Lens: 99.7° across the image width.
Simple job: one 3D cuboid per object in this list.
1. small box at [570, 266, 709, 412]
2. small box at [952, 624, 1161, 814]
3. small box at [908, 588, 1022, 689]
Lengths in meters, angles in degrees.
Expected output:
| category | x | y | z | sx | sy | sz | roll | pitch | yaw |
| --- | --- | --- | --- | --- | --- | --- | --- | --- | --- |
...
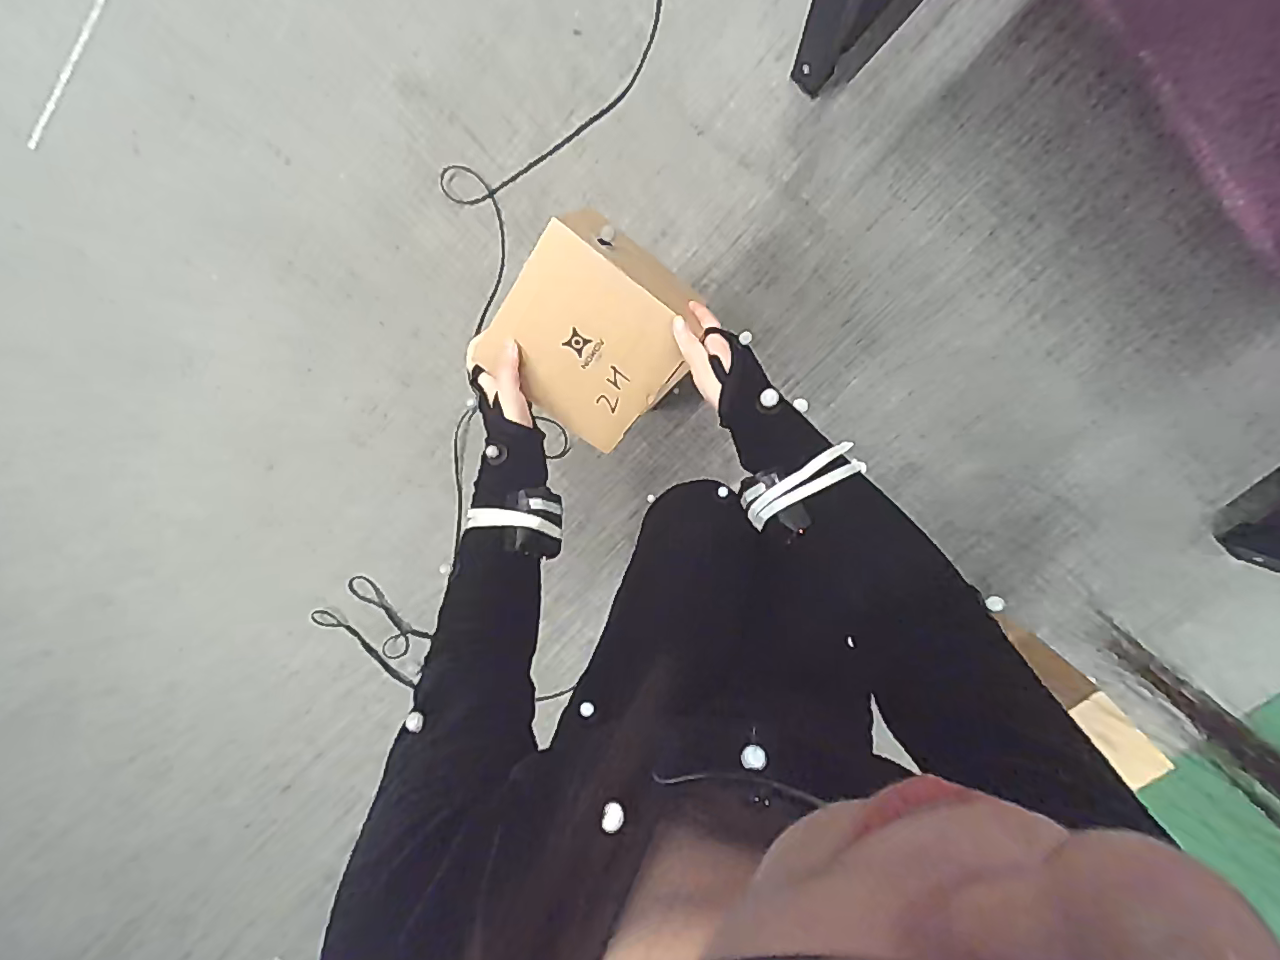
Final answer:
| category | x | y | z | sx | sy | sz | roll | pitch | yaw |
| --- | --- | --- | --- | --- | --- | --- | --- | --- | --- |
| small box | 0.007 | -0.243 | 0.960 | 0.179 | 0.176 | 0.168 | -44 | 95 | 12 |
| small box | 0.635 | 0.369 | 0.858 | 0.168 | 0.176 | 0.179 | 44 | 103 | -6 |
| small box | 0.646 | 0.327 | 1.016 | 0.179 | 0.176 | 0.168 | 42 | 104 | -3 |
